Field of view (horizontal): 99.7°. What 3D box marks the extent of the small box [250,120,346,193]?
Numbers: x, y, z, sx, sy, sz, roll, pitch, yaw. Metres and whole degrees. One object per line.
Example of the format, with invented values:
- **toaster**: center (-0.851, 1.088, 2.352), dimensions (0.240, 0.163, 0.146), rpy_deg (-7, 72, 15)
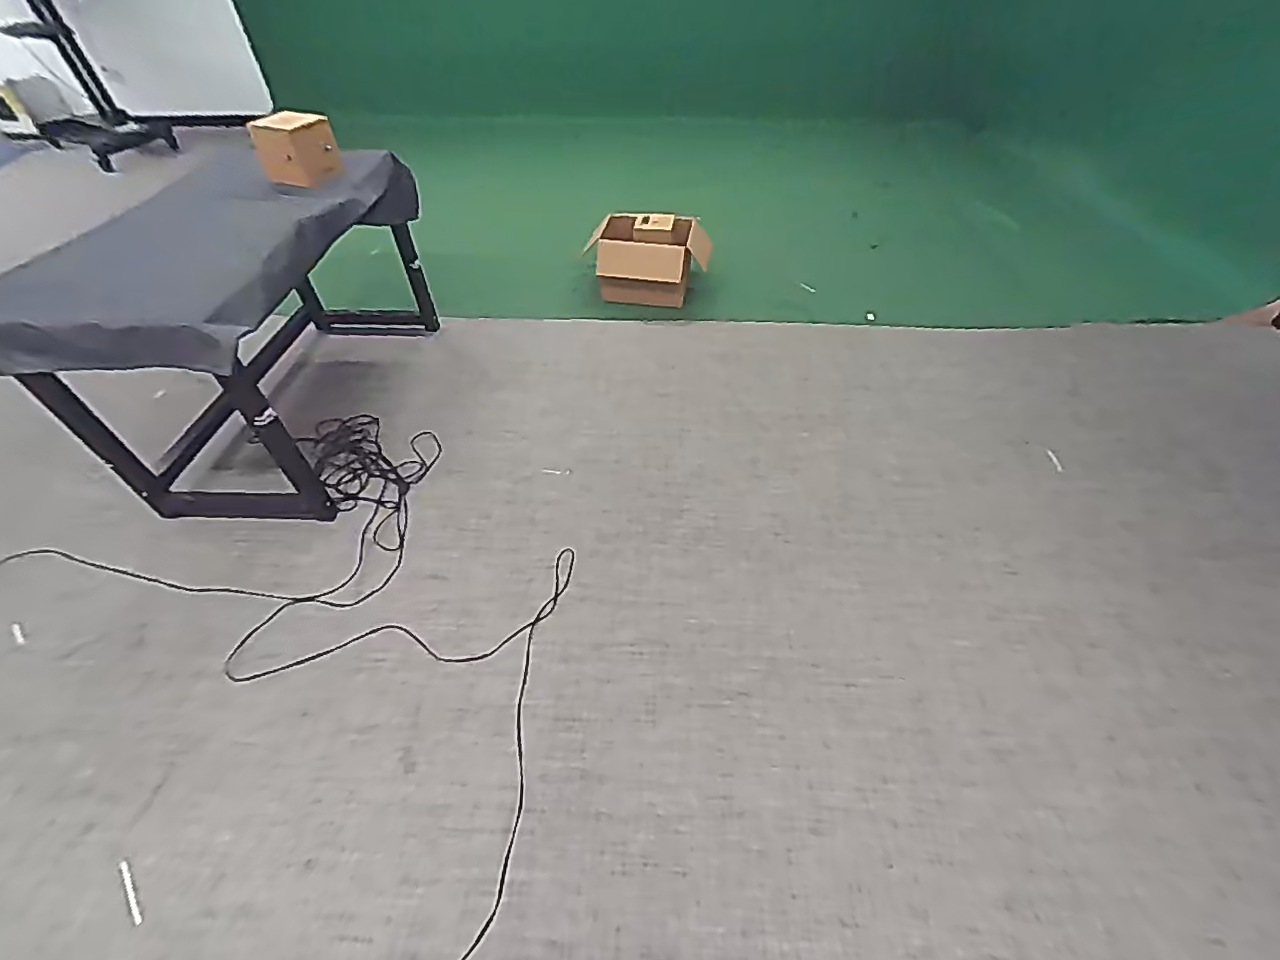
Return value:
- **small box**: center (-1.118, -1.067, 1.787), dimensions (0.179, 0.176, 0.168), rpy_deg (14, 48, 15)
